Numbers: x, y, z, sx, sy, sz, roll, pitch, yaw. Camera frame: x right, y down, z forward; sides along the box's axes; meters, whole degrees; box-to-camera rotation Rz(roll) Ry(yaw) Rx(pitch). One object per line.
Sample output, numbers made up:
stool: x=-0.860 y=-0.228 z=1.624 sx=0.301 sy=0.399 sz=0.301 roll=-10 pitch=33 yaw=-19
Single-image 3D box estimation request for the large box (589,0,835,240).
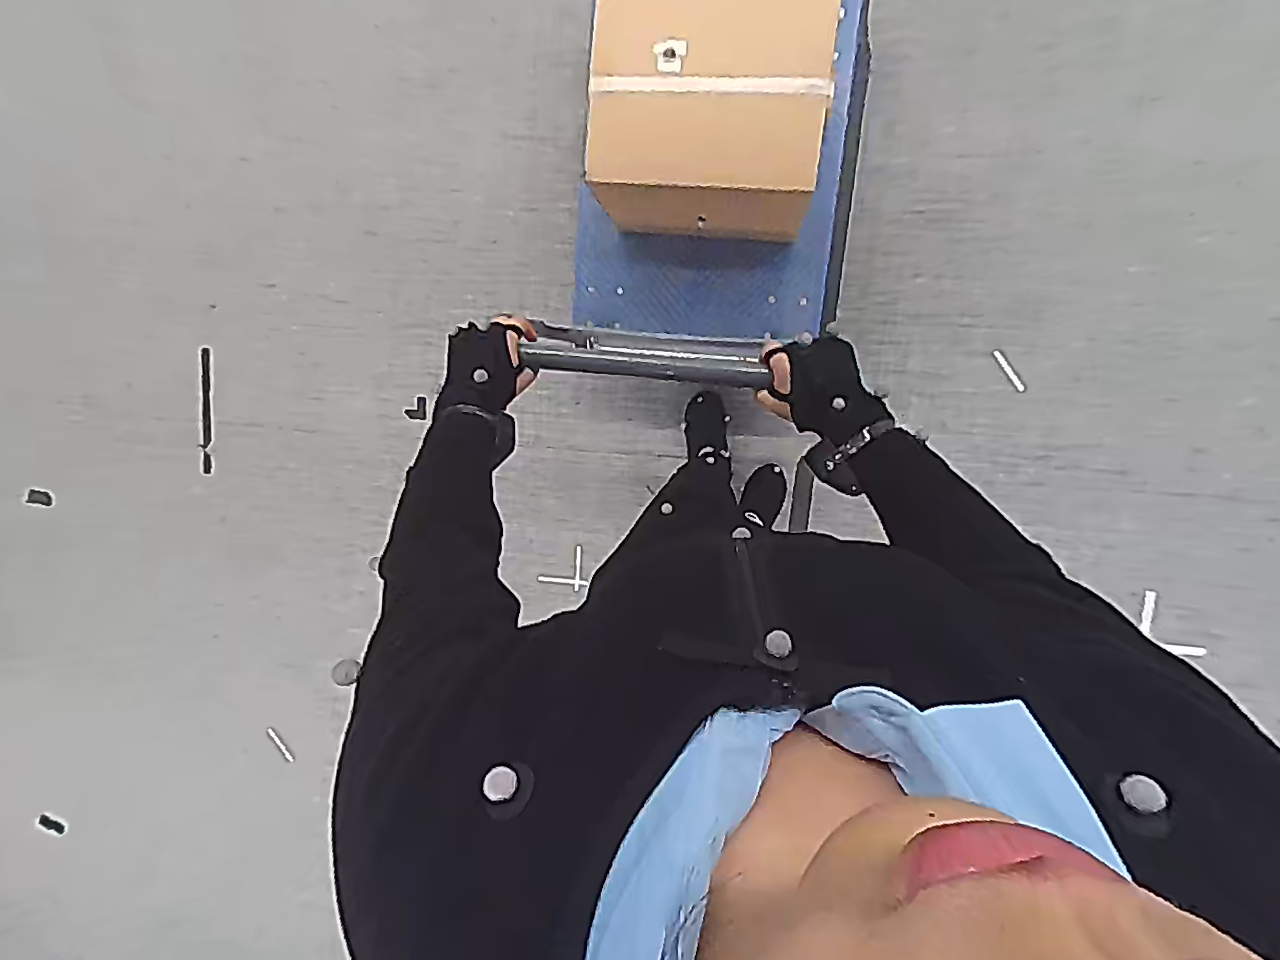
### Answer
large box: x=0.141 y=-0.682 z=1.074 sx=0.408 sy=0.320 sz=0.320 roll=7 pitch=99 yaw=10
